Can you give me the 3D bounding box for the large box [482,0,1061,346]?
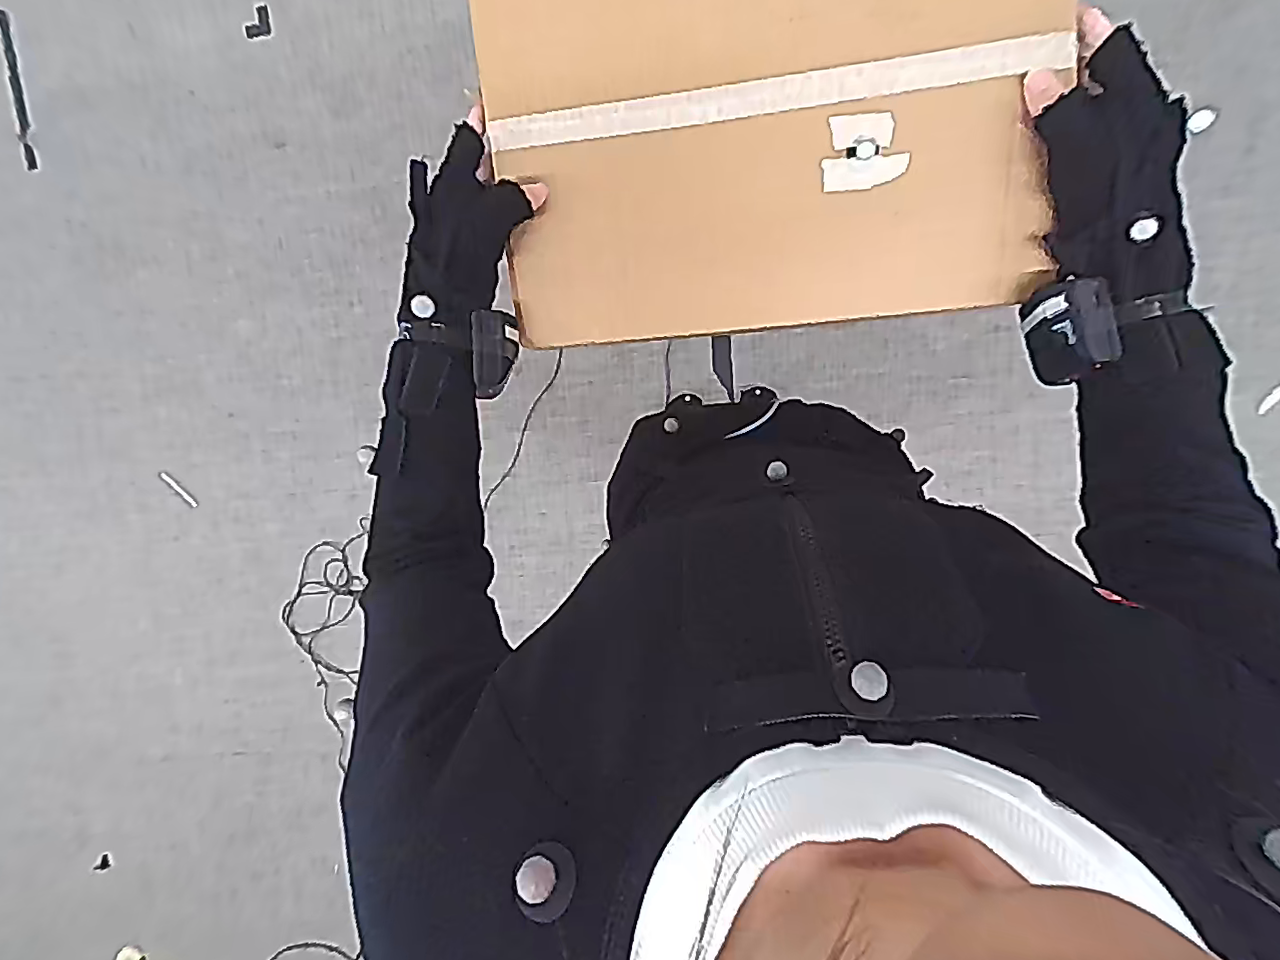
[{"bbox_3d":[0.102,-0.314,0.539,0.408,0.320,0.320,-4,105,7],"label":"large box"}]
